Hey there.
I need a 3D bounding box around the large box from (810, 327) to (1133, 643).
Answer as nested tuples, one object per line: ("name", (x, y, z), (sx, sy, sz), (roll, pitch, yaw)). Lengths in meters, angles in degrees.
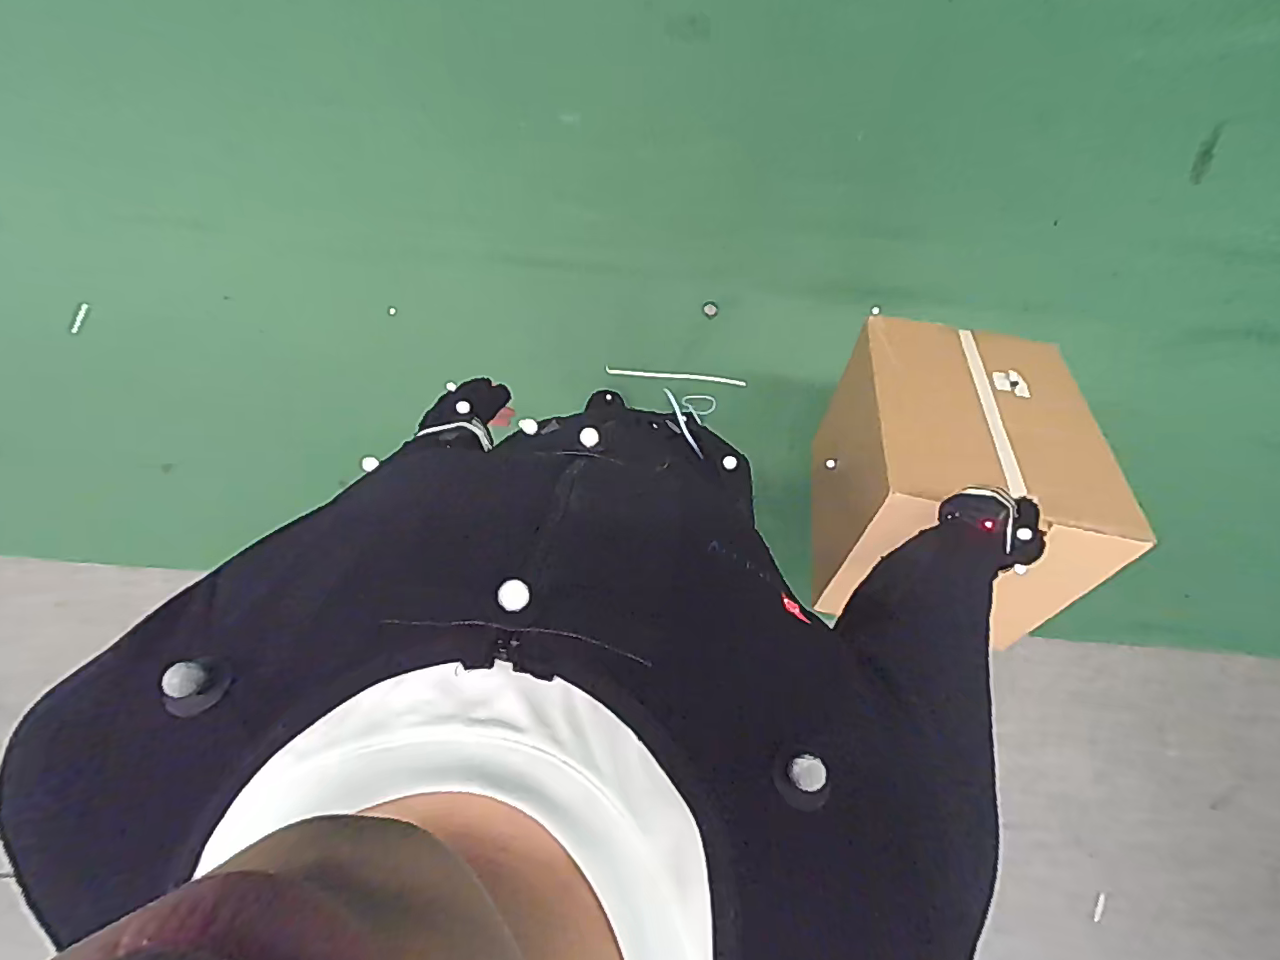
("large box", (0.484, 0.003, 0.912), (0.320, 0.408, 0.320), (12, 138, 4))
